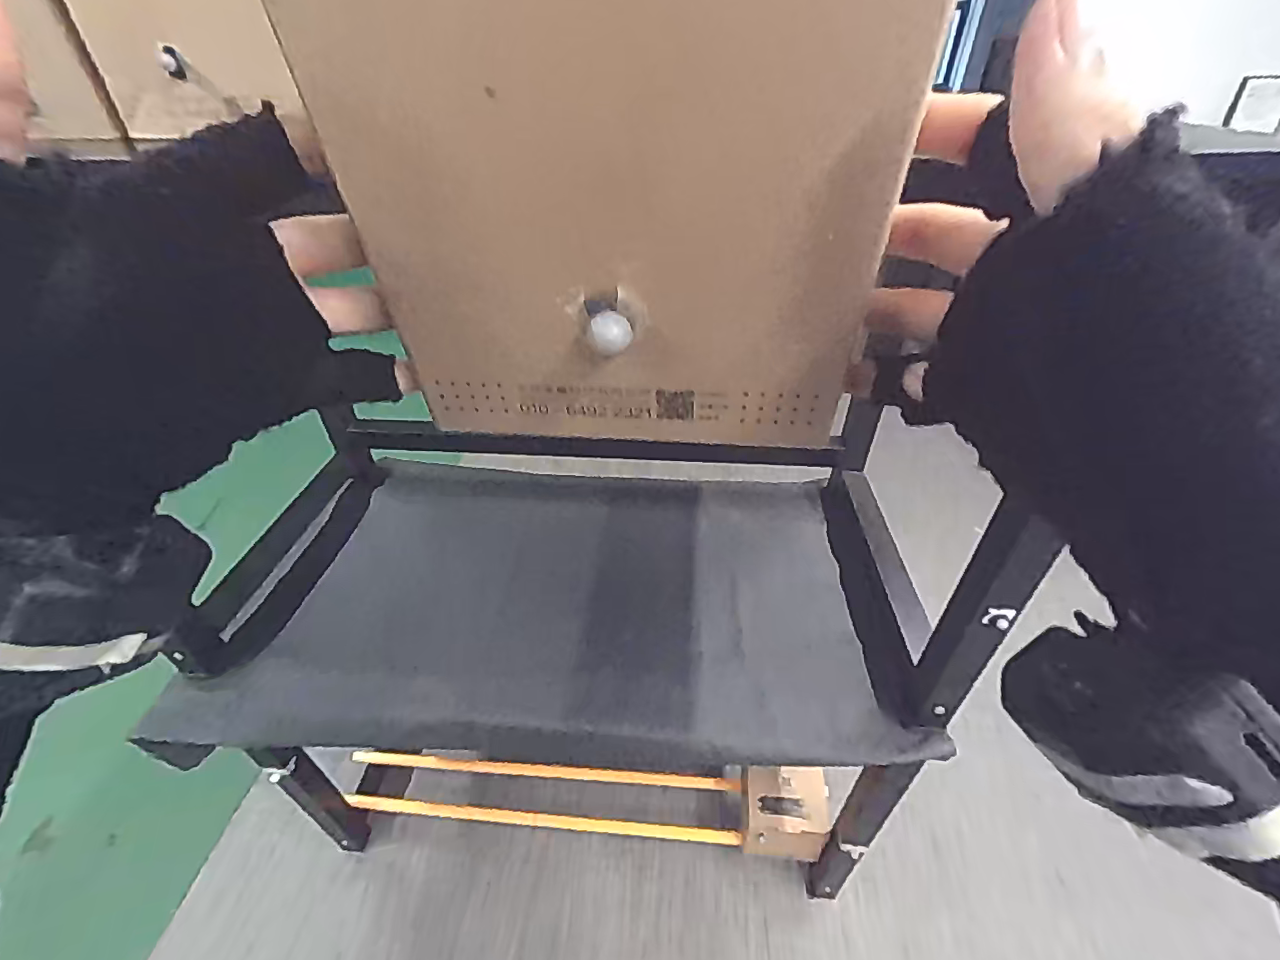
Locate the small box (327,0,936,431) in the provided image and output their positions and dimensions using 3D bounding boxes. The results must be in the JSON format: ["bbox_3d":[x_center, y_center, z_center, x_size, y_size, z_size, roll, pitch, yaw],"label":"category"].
[{"bbox_3d":[0.001,-0.142,0.232,0.168,0.176,0.179,2,45,6],"label":"small box"}]
